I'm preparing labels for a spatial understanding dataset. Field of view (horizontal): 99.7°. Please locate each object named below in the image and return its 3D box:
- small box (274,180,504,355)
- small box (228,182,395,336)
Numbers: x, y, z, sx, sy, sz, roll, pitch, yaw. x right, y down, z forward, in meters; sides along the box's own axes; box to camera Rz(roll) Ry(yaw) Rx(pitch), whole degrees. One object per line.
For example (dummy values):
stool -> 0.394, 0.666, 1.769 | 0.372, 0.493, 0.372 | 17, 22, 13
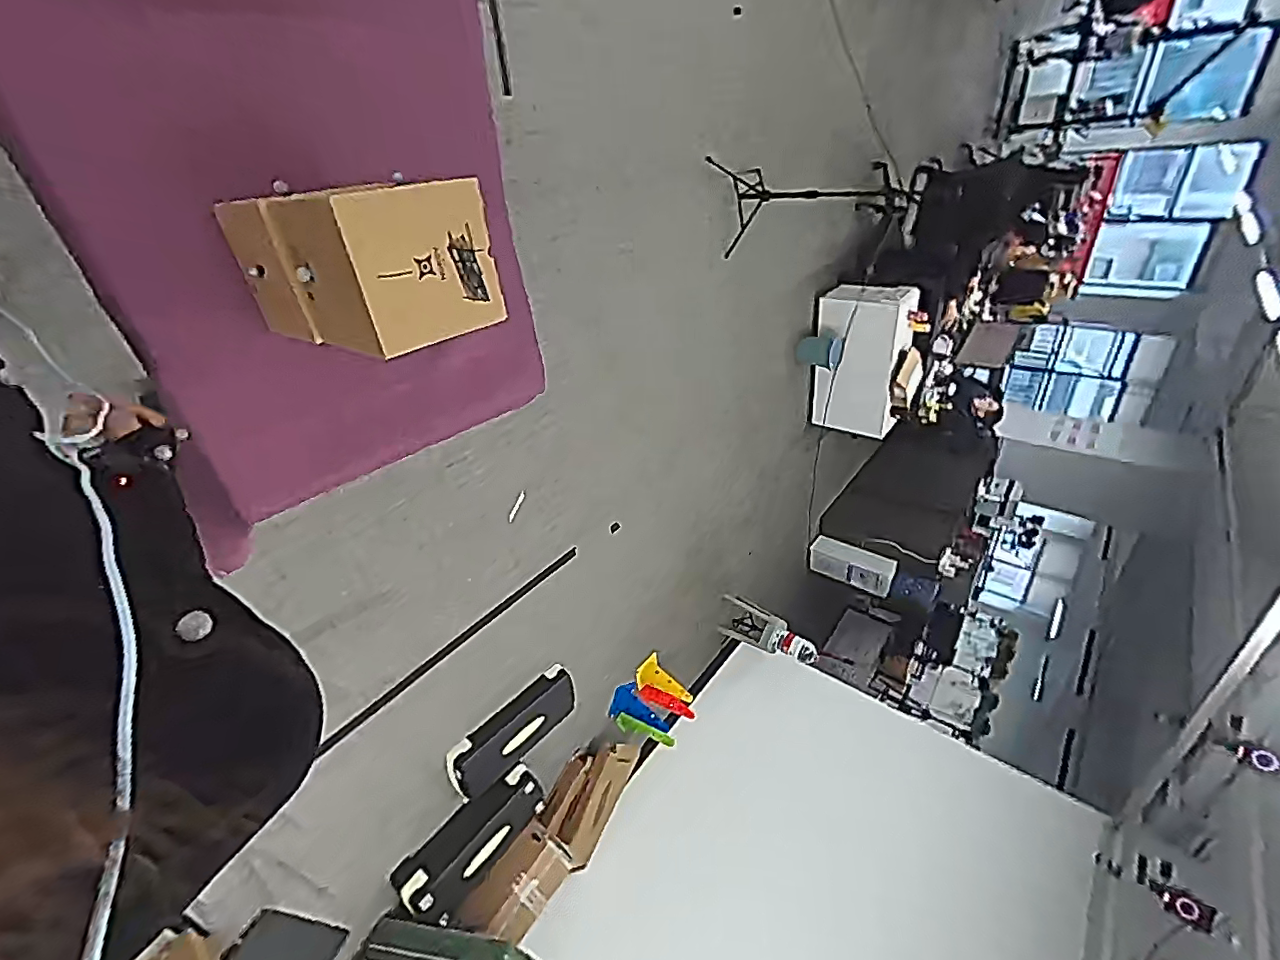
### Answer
small box -> -0.301, -0.269, 0.666 | 0.179, 0.176, 0.168 | -35, 132, -38
small box -> -0.433, -0.312, 0.754 | 0.179, 0.176, 0.168 | -36, 133, -38
